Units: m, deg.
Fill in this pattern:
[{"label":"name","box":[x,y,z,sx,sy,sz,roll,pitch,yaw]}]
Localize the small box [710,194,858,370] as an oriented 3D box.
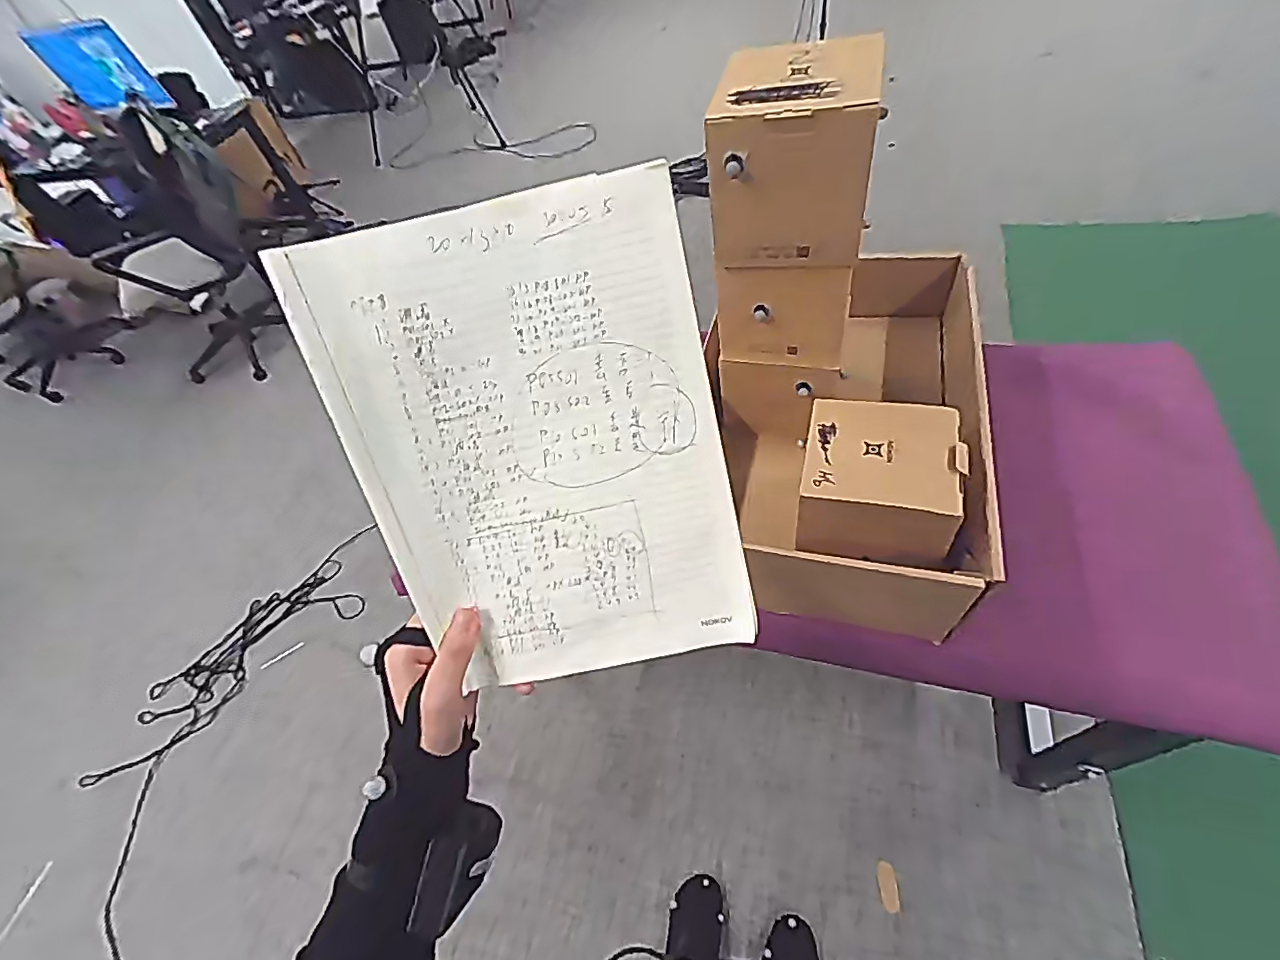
[{"label":"small box","box":[0.206,-0.275,0.767,0.168,0.176,0.179,8,56,19]}]
